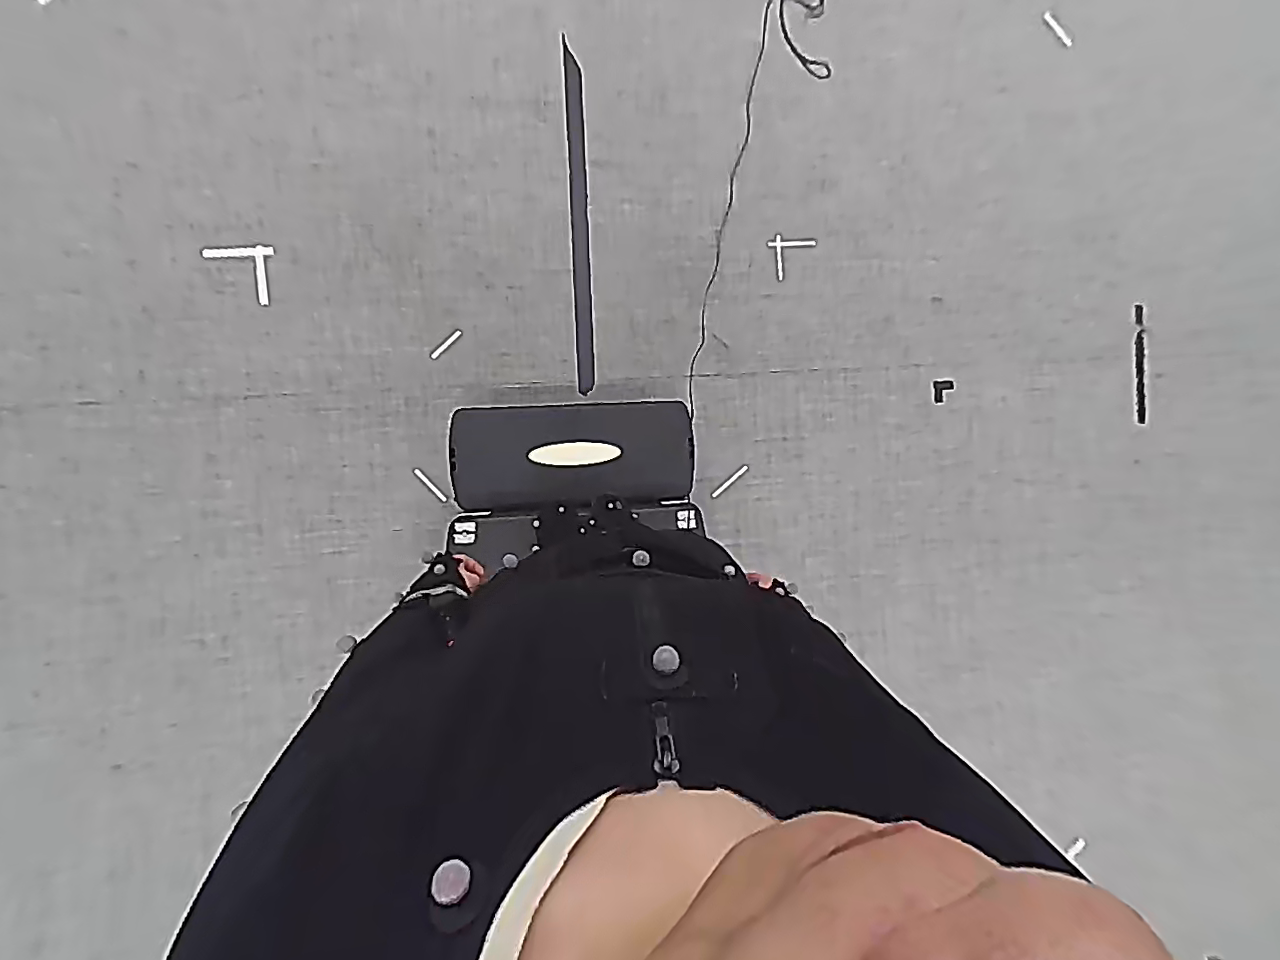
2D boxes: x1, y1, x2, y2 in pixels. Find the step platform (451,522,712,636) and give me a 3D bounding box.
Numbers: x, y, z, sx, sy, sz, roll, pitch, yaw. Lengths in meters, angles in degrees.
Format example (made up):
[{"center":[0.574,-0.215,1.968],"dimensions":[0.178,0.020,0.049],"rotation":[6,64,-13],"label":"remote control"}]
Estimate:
[{"center":[-0.150,0.262,1.459],"dimensions":[0.684,0.204,0.286],"rotation":[1,87,-6],"label":"step platform"}]
